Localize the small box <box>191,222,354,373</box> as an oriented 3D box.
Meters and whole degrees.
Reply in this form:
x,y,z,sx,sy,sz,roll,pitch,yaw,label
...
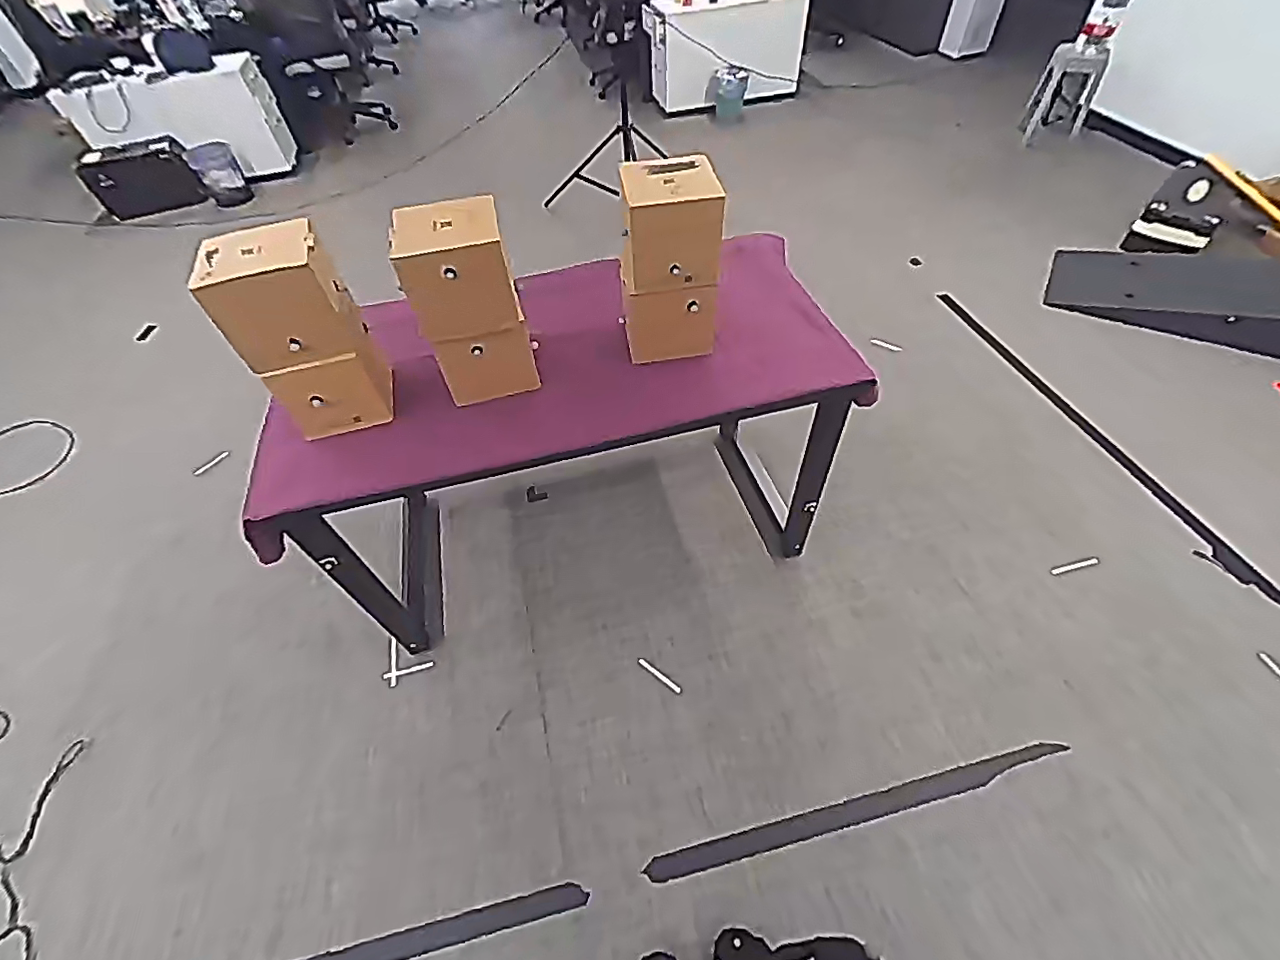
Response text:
x,y,z,sx,sy,sz,roll,pitch,yaw,label
-0.615,-0.312,0.934,0.179,0.176,0.168,-17,52,-11,small box

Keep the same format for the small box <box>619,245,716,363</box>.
x,y,z,sx,sy,sz,roll,pitch,yaw,label
0.054,-0.368,1.140,0.179,0.176,0.168,-8,51,-2,small box

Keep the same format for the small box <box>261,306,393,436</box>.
x,y,z,sx,sy,sz,roll,pitch,yaw,label
-0.599,-0.206,1.058,0.168,0.176,0.179,-16,52,-9,small box

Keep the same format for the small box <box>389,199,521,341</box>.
x,y,z,sx,sy,sz,roll,pitch,yaw,label
-0.322,-0.369,0.961,0.179,0.176,0.168,-12,53,-7,small box

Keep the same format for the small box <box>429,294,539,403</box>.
x,y,z,sx,sy,sz,roll,pitch,yaw,label
-0.316,-0.278,1.095,0.179,0.176,0.168,-14,52,-9,small box
